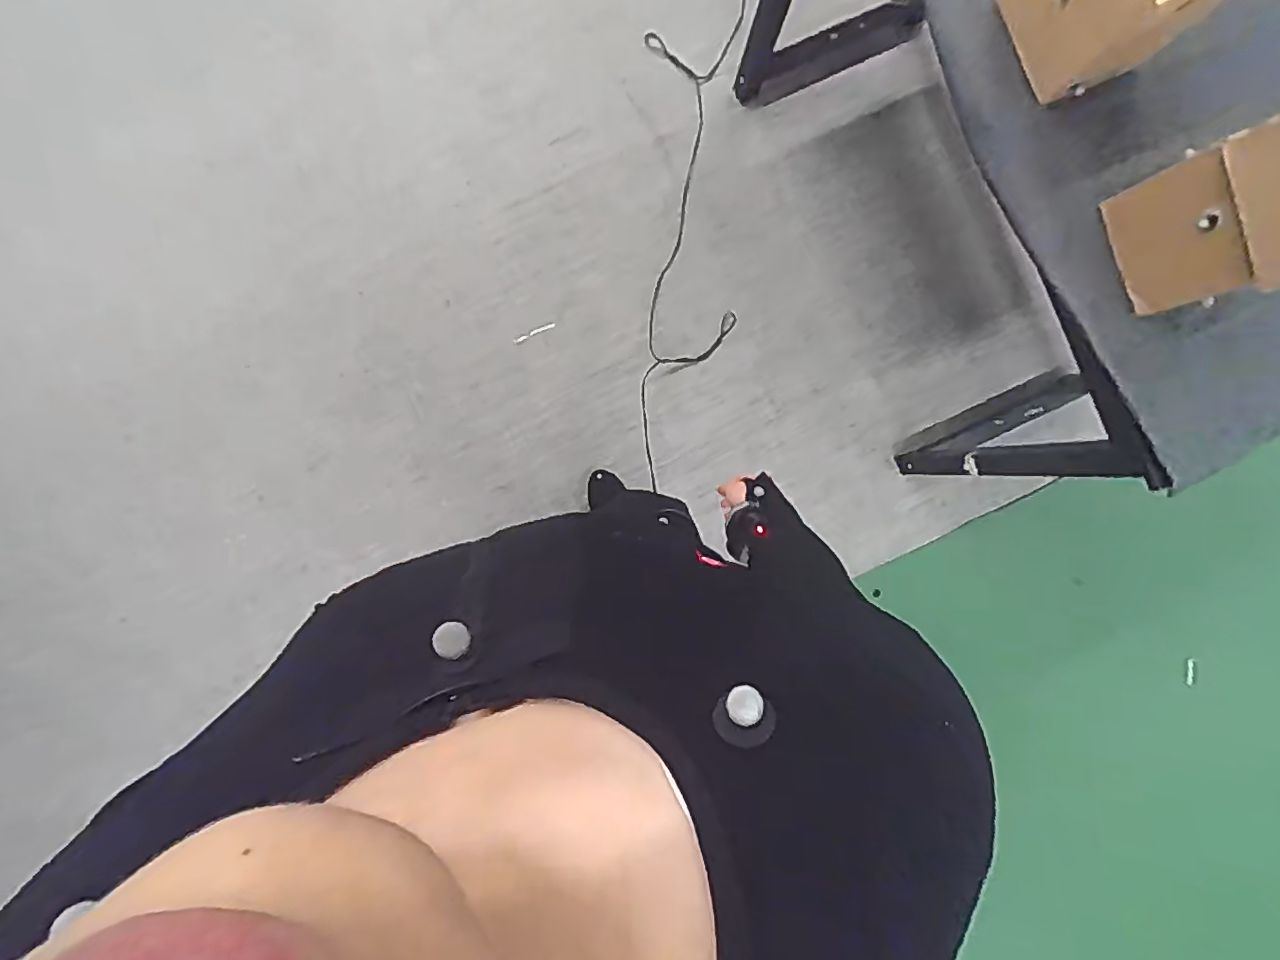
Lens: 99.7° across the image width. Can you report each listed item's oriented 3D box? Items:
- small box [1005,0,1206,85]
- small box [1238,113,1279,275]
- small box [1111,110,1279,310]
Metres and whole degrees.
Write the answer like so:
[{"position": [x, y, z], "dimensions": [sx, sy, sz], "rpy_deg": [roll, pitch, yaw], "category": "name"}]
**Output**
[{"position": [0.612, -0.648, 0.683], "dimensions": [0.168, 0.176, 0.179], "rpy_deg": [-24, 91, -4], "category": "small box"}, {"position": [0.769, -0.327, 0.535], "dimensions": [0.168, 0.176, 0.179], "rpy_deg": [-18, 91, -3], "category": "small box"}, {"position": [0.771, -0.348, 0.698], "dimensions": [0.168, 0.176, 0.179], "rpy_deg": [-21, 93, -2], "category": "small box"}]
